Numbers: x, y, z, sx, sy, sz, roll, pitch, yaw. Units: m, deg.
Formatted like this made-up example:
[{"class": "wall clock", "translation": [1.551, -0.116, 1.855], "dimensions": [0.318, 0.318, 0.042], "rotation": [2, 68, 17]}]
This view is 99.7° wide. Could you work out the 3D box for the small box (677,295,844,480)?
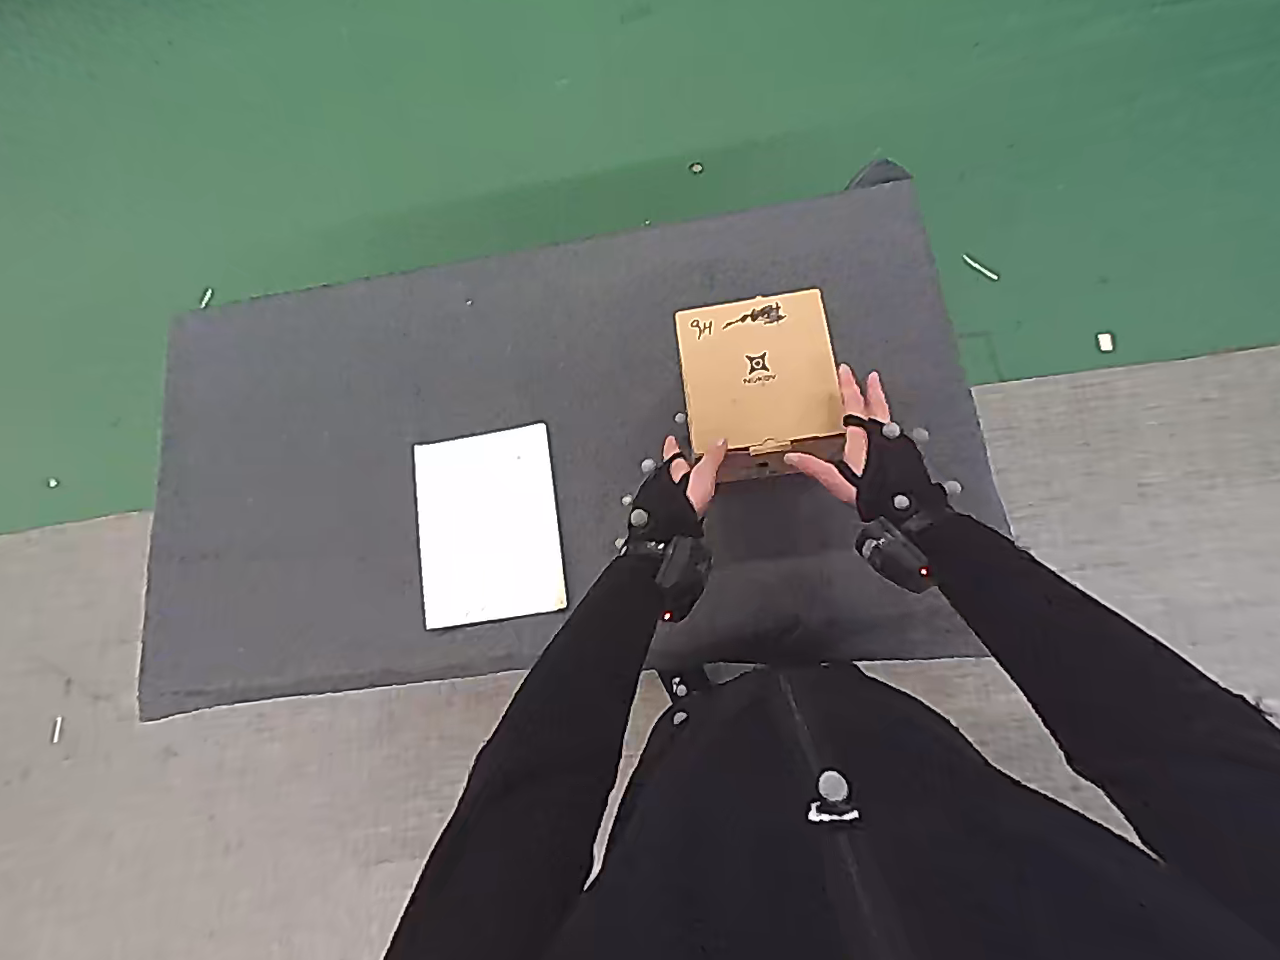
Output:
[{"class": "small box", "translation": [0.141, -0.100, 0.677], "dimensions": [0.168, 0.176, 0.179], "rotation": [-8, 79, 5]}]
